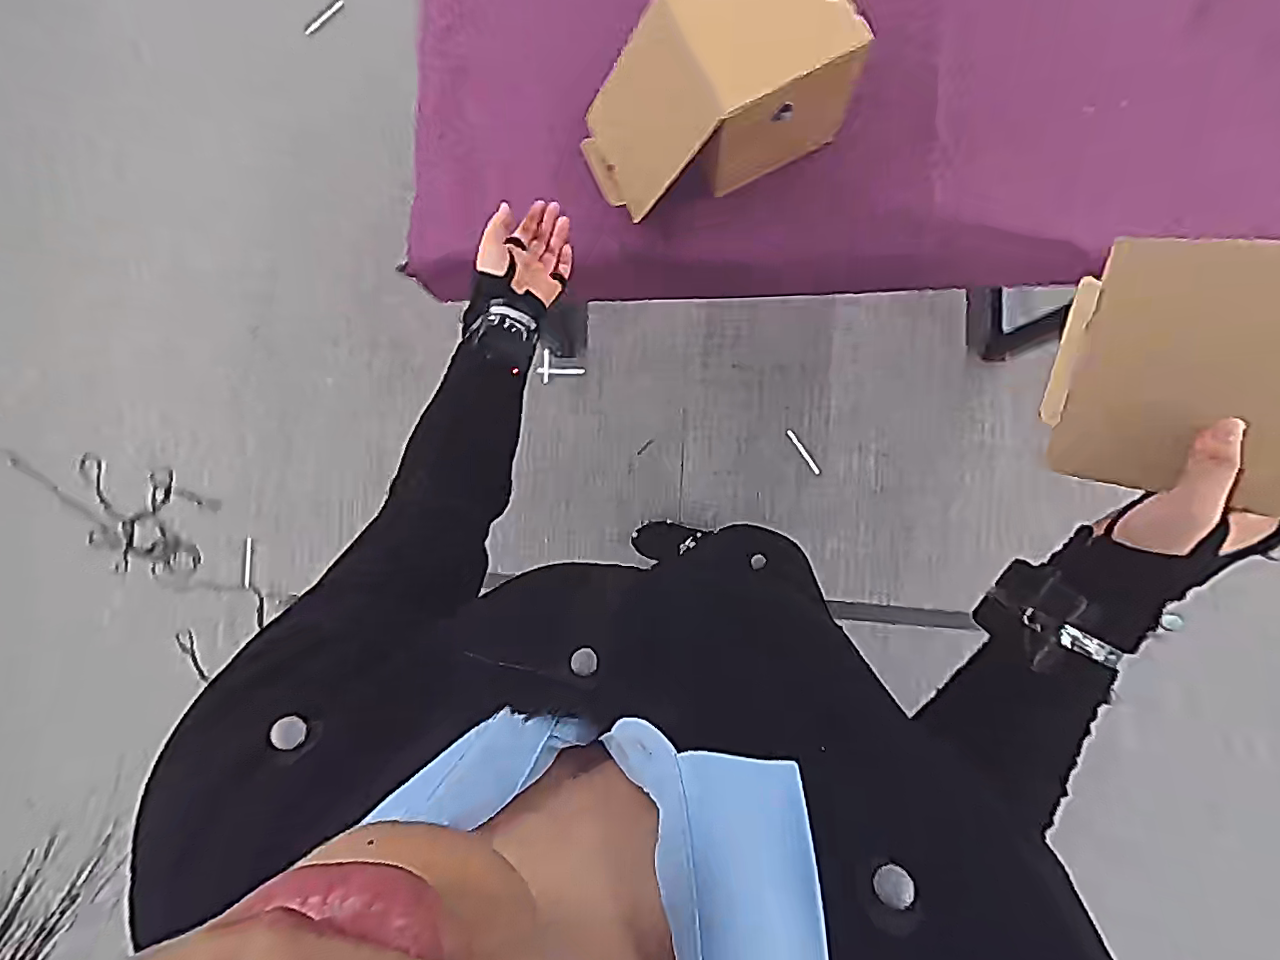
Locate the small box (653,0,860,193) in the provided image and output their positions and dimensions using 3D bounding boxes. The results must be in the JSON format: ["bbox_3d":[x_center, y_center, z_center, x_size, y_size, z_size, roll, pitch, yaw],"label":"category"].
[{"bbox_3d":[0.133,-0.497,0.664,0.179,0.176,0.168,-25,87,4],"label":"small box"}]
